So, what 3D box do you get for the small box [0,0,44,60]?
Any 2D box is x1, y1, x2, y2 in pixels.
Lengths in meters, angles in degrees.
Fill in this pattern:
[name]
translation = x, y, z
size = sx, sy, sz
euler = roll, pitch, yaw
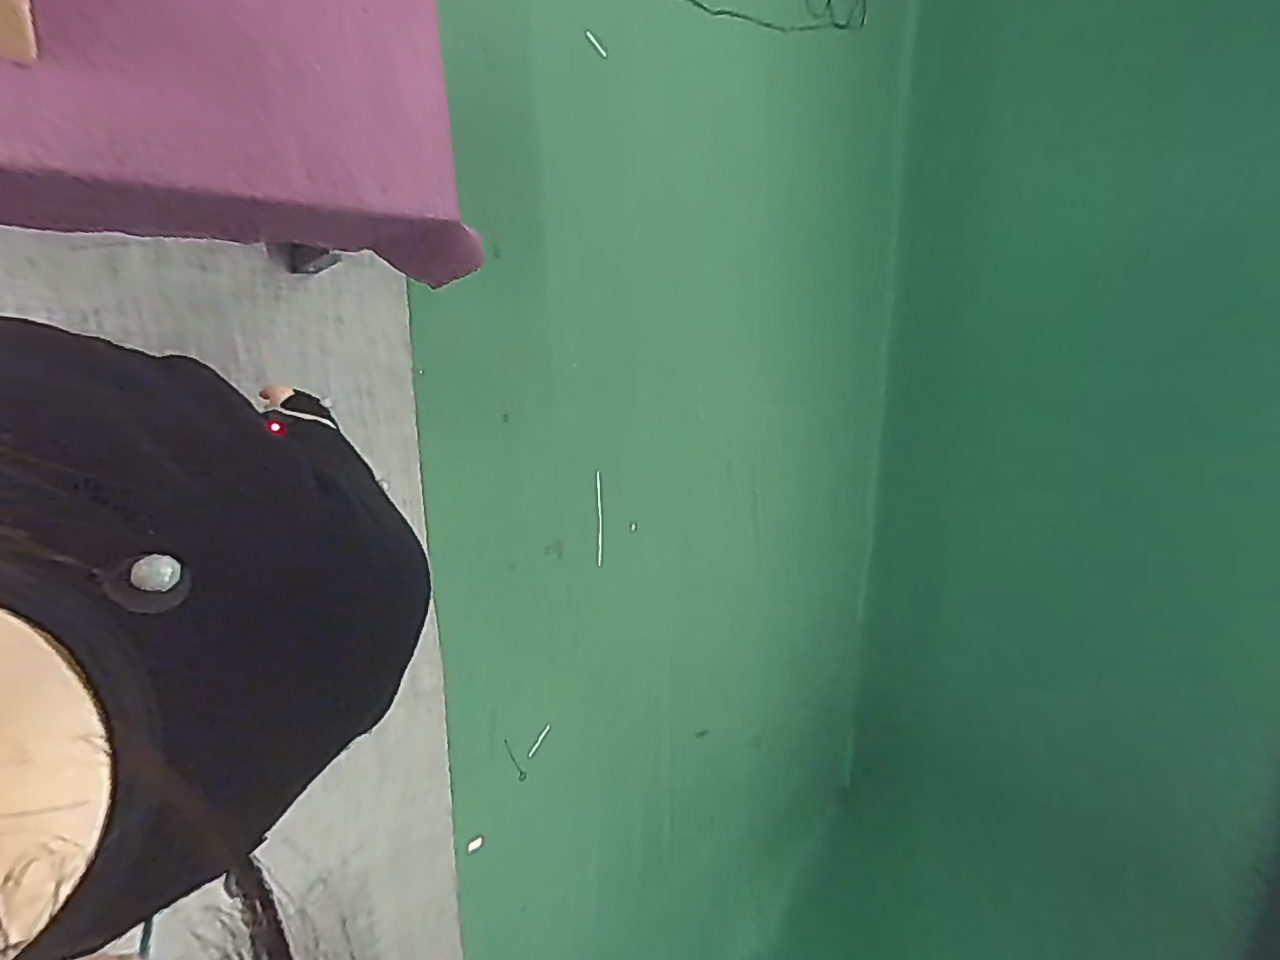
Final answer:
[small box]
translation = -0.570, -0.446, 0.382
size = 0.179, 0.176, 0.168
euler = -7, 103, -42
